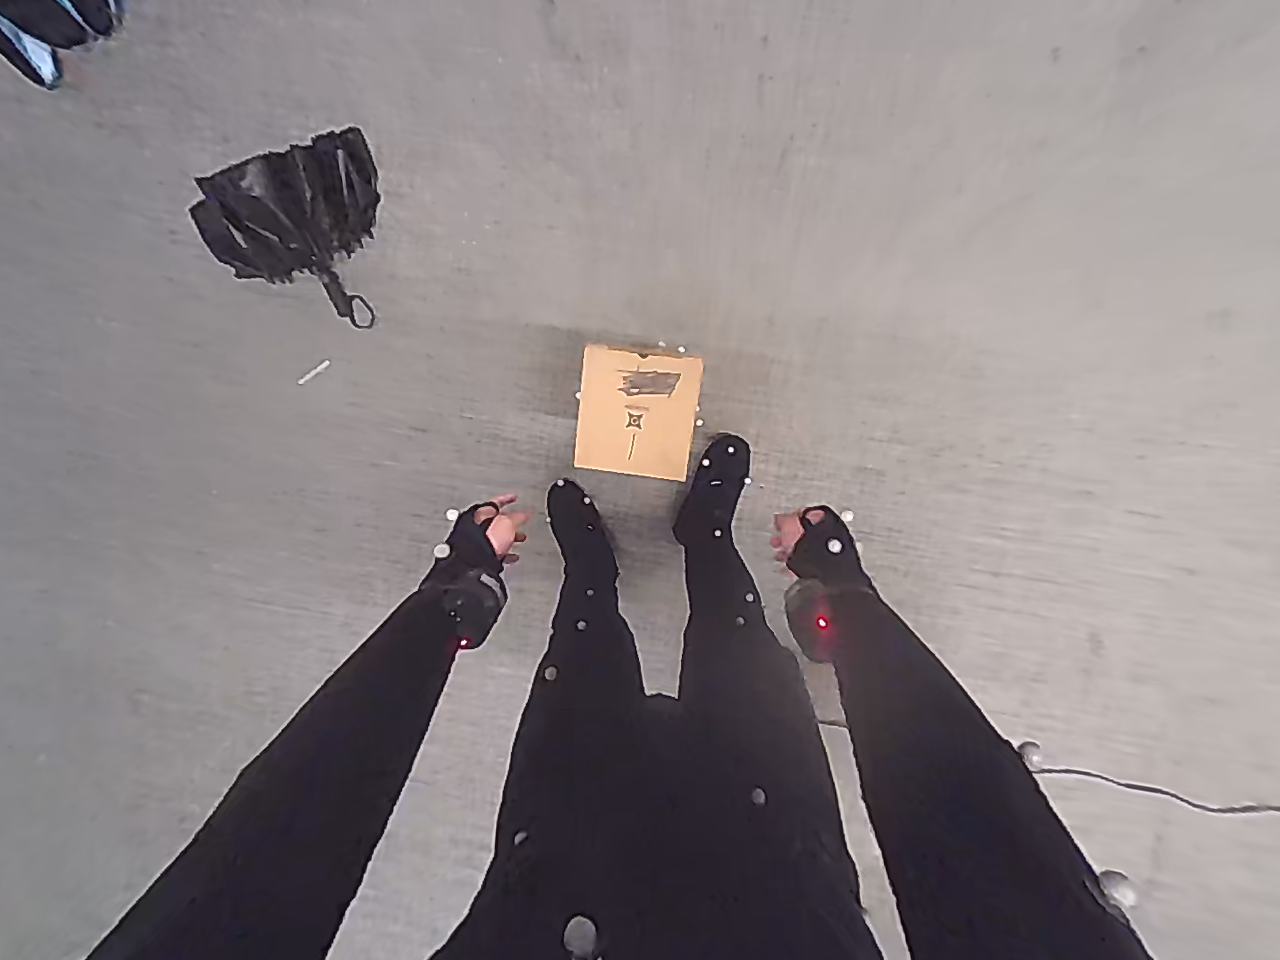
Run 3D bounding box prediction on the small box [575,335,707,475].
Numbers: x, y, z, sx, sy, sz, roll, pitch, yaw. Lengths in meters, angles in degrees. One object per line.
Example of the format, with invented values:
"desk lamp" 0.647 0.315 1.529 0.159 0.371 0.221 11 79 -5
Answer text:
"small box" 0.004 -0.120 0.827 0.168 0.176 0.179 8 104 3
